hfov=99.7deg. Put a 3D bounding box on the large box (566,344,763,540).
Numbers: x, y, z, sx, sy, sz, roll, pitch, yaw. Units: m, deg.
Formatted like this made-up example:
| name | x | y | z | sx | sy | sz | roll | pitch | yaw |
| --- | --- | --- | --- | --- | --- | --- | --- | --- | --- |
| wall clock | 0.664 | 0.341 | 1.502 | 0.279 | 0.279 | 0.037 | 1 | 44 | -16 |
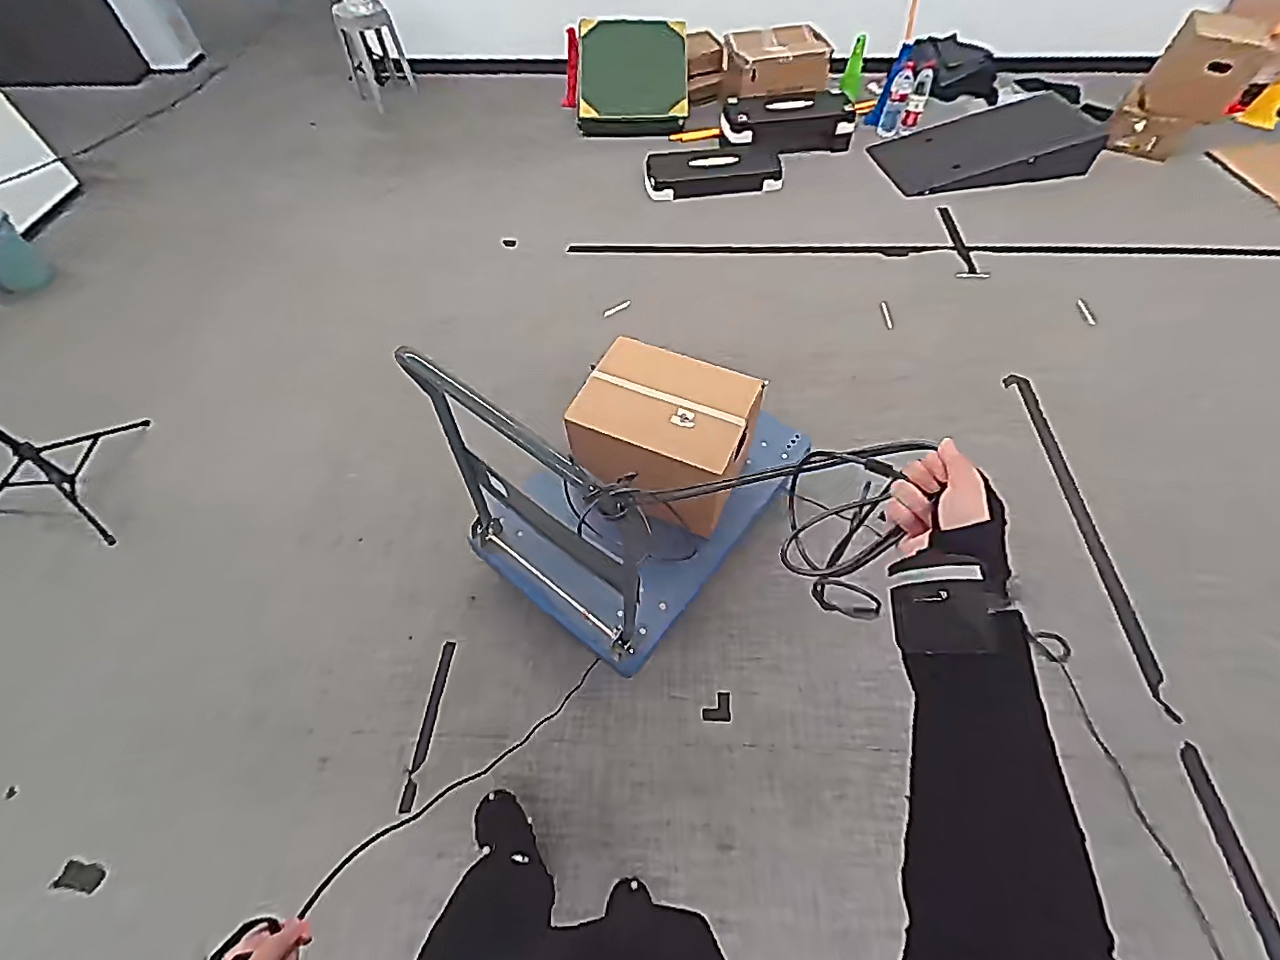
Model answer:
| name | x | y | z | sx | sy | sz | roll | pitch | yaw |
| --- | --- | --- | --- | --- | --- | --- | --- | --- | --- |
| large box | 0.062 | -0.098 | 1.429 | 0.408 | 0.320 | 0.320 | 21 | 60 | 14 |
